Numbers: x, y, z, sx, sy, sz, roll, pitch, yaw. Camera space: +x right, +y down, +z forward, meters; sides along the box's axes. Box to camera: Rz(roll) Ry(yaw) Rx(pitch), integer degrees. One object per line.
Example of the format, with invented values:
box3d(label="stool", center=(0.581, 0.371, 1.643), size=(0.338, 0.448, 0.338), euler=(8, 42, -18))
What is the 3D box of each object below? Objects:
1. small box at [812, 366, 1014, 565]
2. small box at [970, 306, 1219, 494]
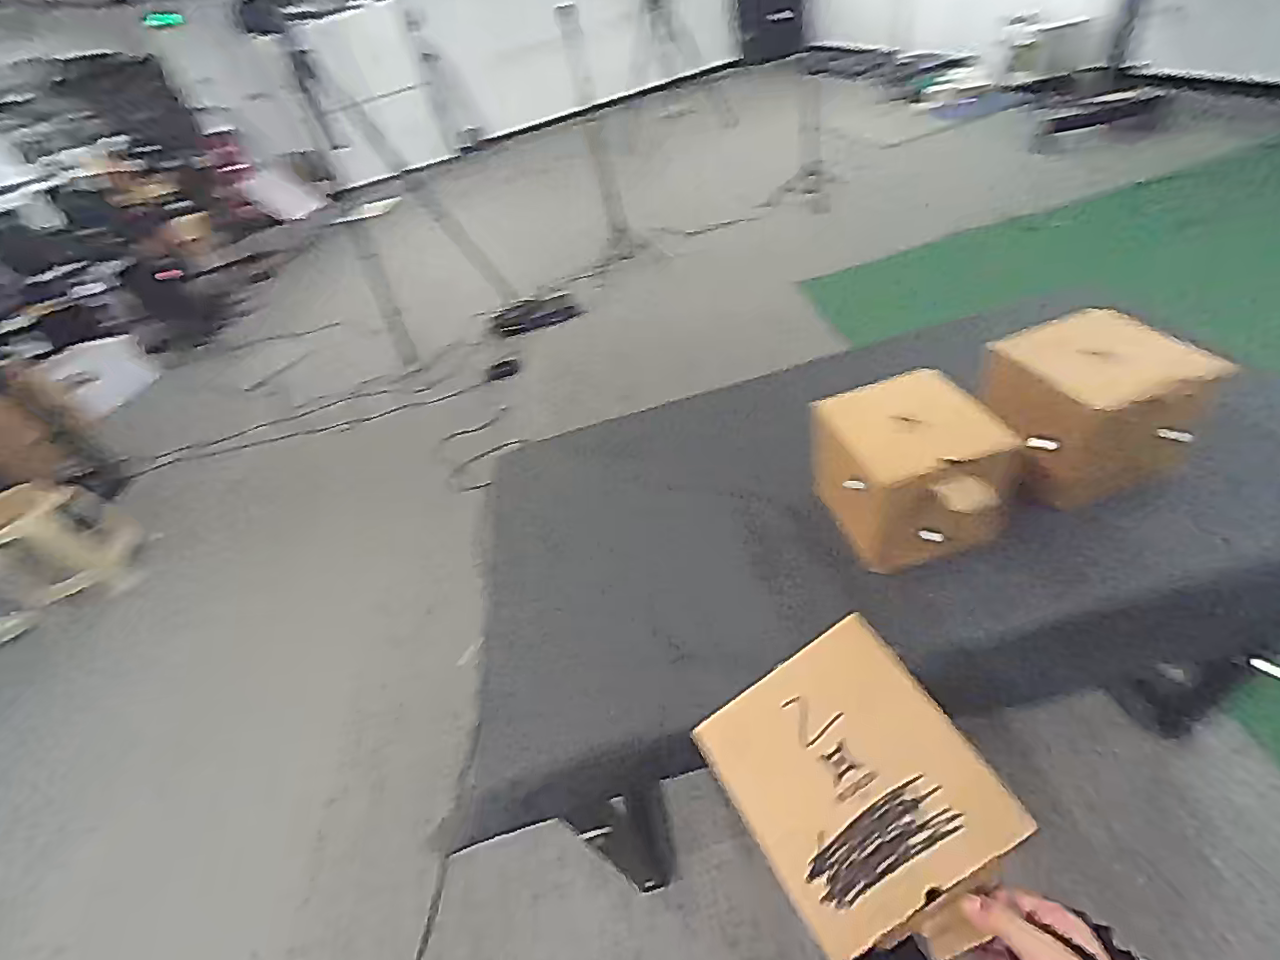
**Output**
box3d(label="small box", center=(0.339, -0.019, 0.714), size=(0.168, 0.176, 0.179), euler=(-18, 42, -1))
box3d(label="small box", center=(0.577, -0.101, 0.722), size=(0.168, 0.176, 0.179), euler=(-19, 41, -3))
